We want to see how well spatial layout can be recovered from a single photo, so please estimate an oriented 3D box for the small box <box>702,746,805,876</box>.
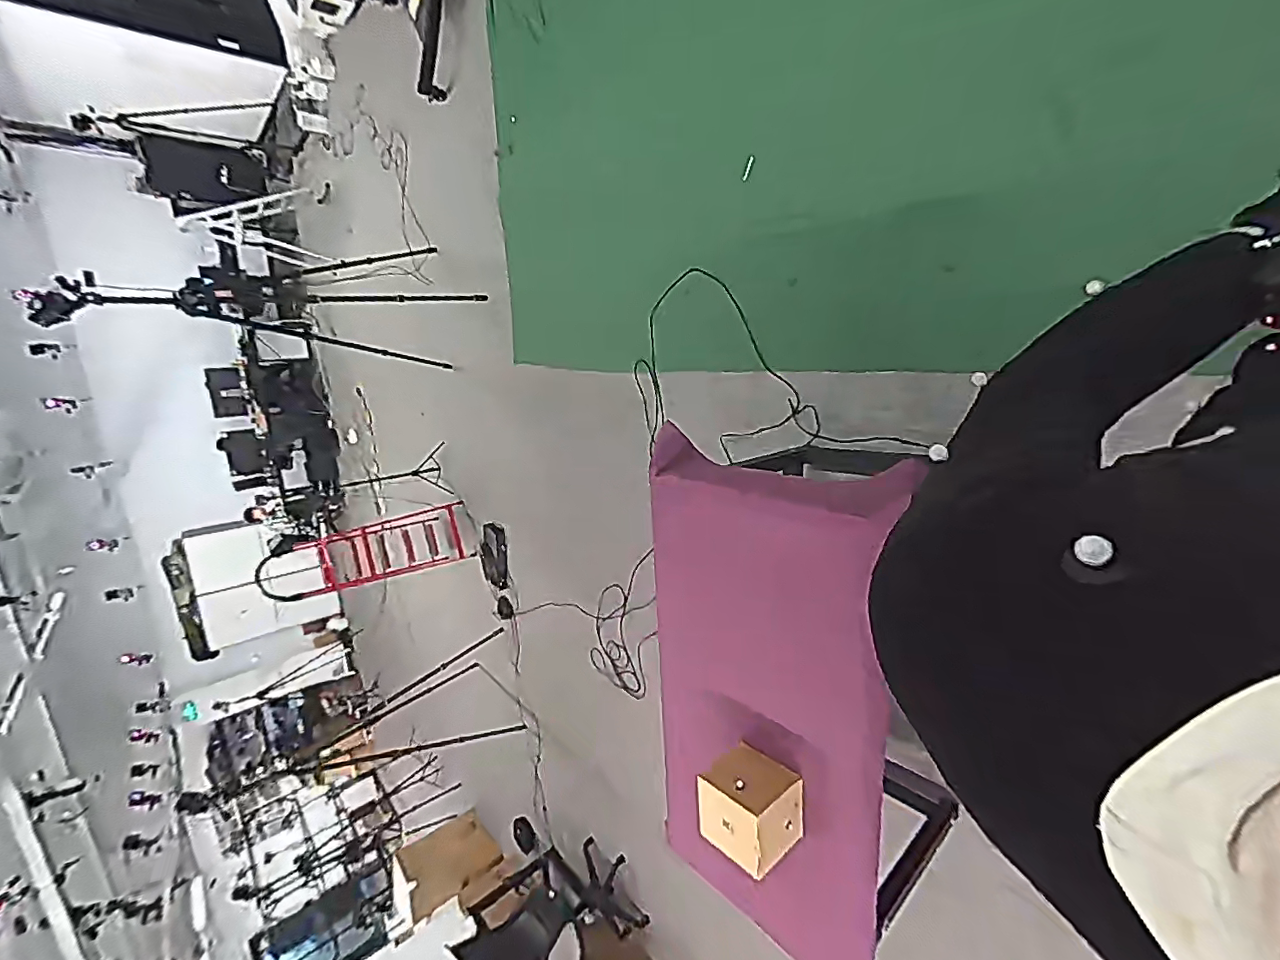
[{"bbox_3d":[0.266,0.762,1.272,0.179,0.176,0.168,8,107,47],"label":"small box"}]
